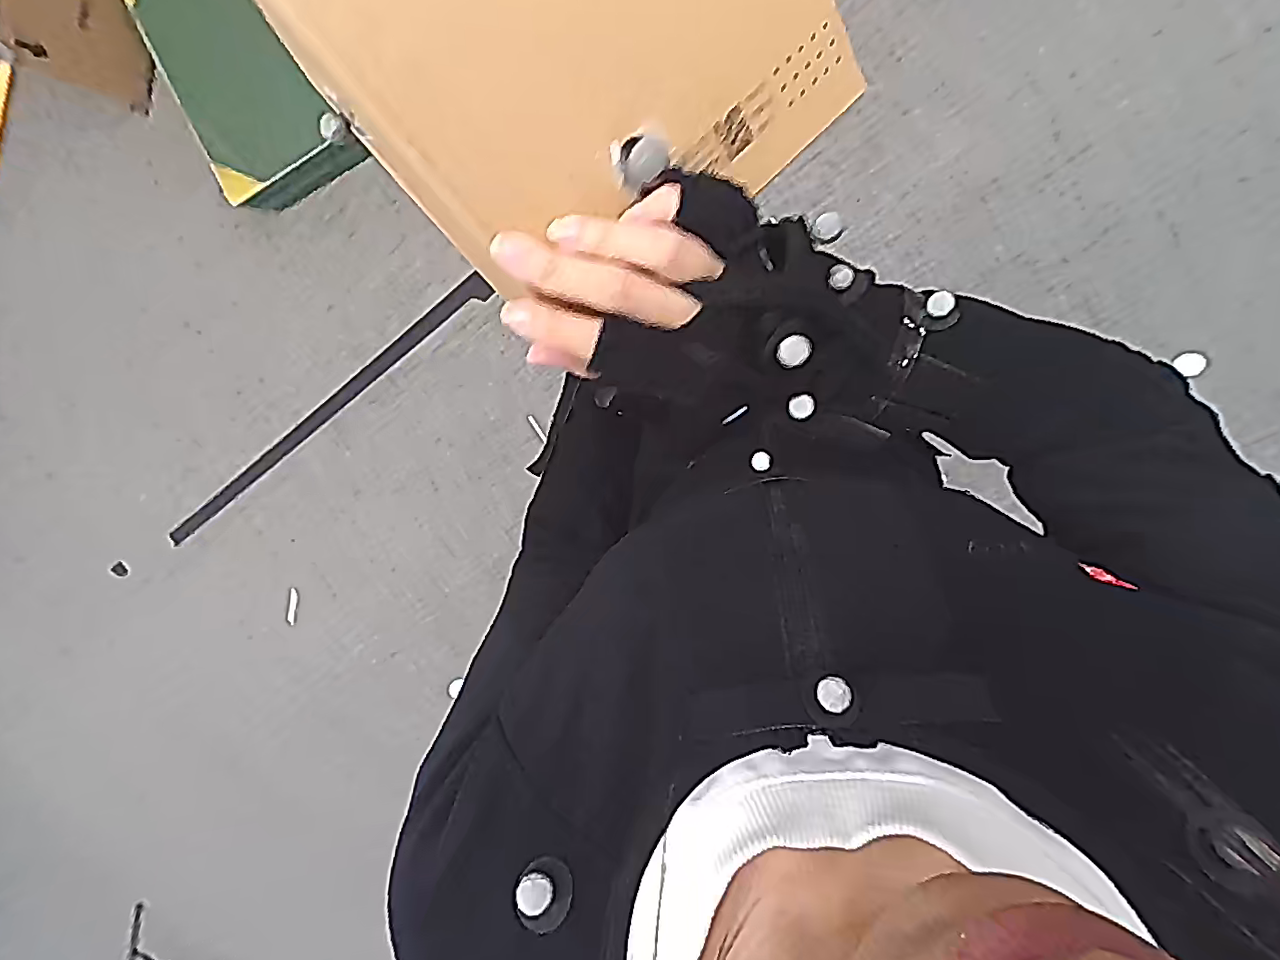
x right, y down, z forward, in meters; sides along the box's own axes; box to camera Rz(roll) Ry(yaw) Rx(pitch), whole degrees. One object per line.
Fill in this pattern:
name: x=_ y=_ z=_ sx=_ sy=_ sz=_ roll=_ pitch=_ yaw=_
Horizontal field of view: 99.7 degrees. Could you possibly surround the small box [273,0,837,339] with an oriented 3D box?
small box: x=-0.040 y=-0.195 z=0.275 sx=0.168 sy=0.179 sz=0.176 roll=-42 pitch=121 yaw=2
